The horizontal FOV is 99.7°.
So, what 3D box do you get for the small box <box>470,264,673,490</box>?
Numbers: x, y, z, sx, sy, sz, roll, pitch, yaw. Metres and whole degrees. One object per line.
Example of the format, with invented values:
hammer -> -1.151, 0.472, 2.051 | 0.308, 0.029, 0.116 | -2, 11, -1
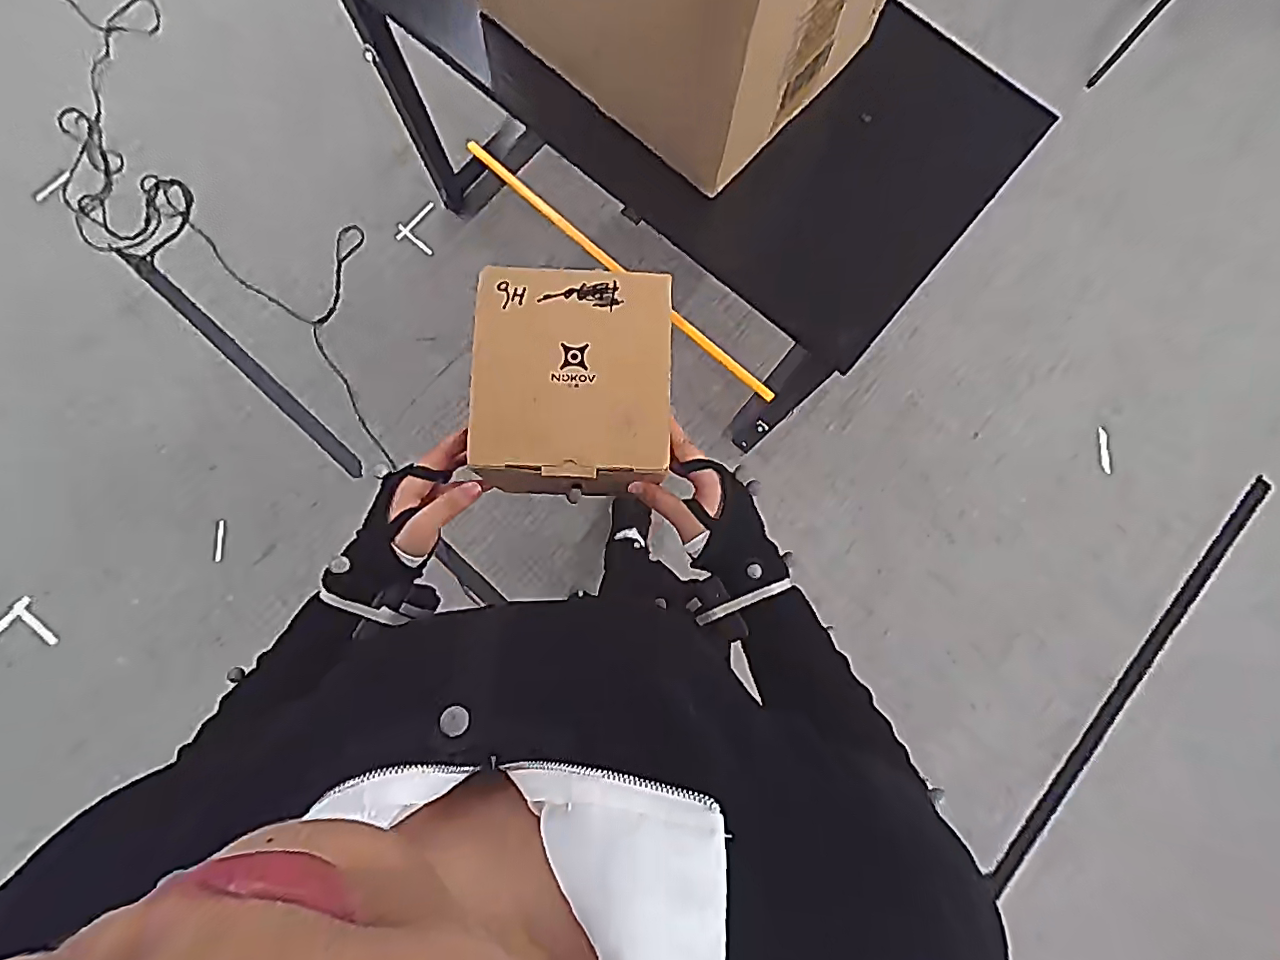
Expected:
small box -> -0.059, -0.085, 0.529 | 0.168, 0.176, 0.179 | 1, 82, -3
